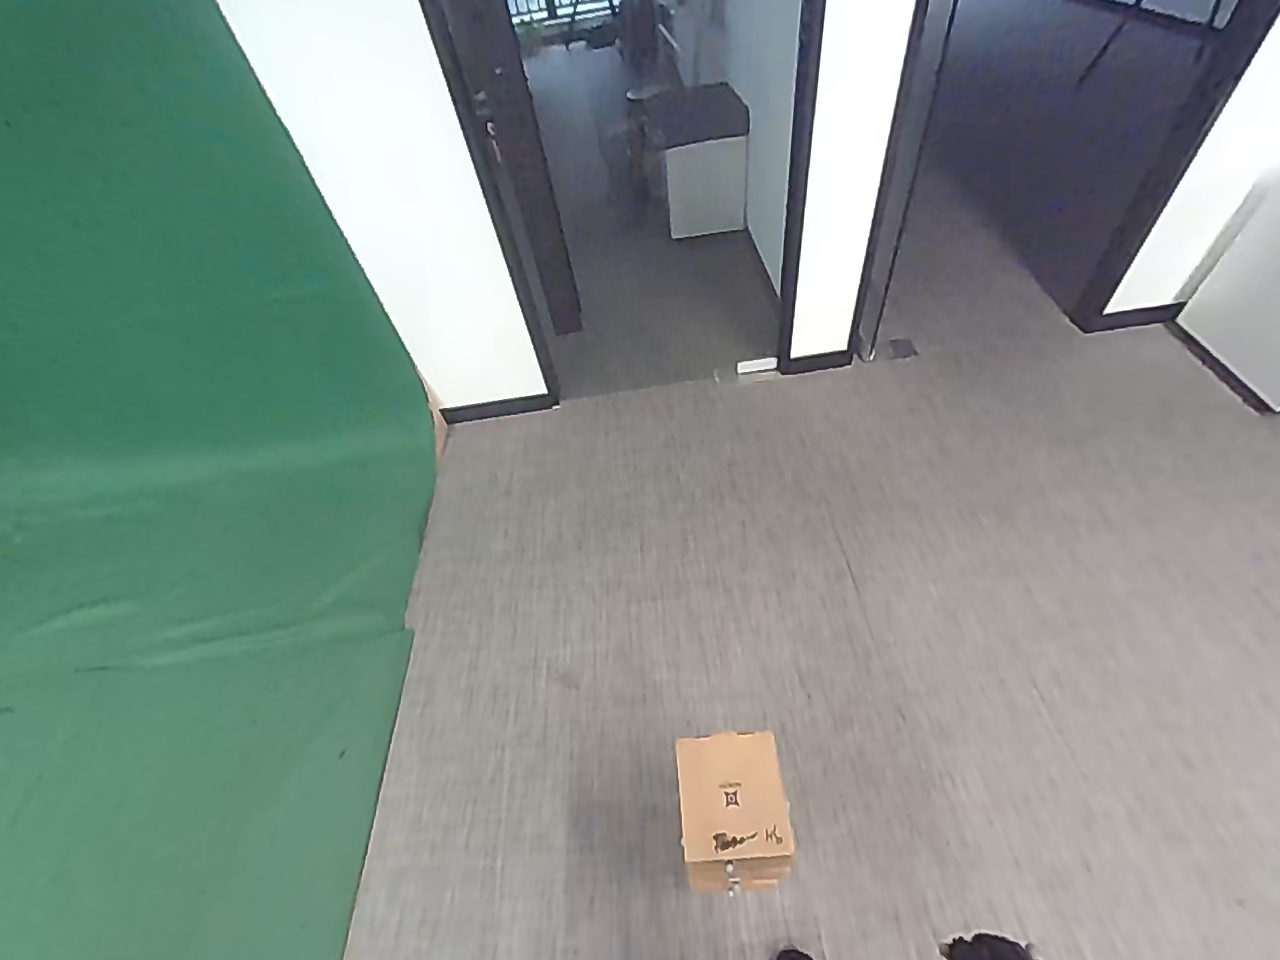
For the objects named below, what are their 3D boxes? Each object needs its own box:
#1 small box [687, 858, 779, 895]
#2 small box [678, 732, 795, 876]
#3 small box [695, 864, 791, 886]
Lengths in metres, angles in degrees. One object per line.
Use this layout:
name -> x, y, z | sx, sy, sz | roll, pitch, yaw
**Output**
small box -> 0.189, 0.772, 1.150 | 0.179, 0.176, 0.168 | -6, 48, 5
small box -> 0.156, 0.549, 0.915 | 0.168, 0.176, 0.179 | -7, 47, 5
small box -> 0.184, 0.659, 1.034 | 0.168, 0.176, 0.179 | -7, 49, 5
